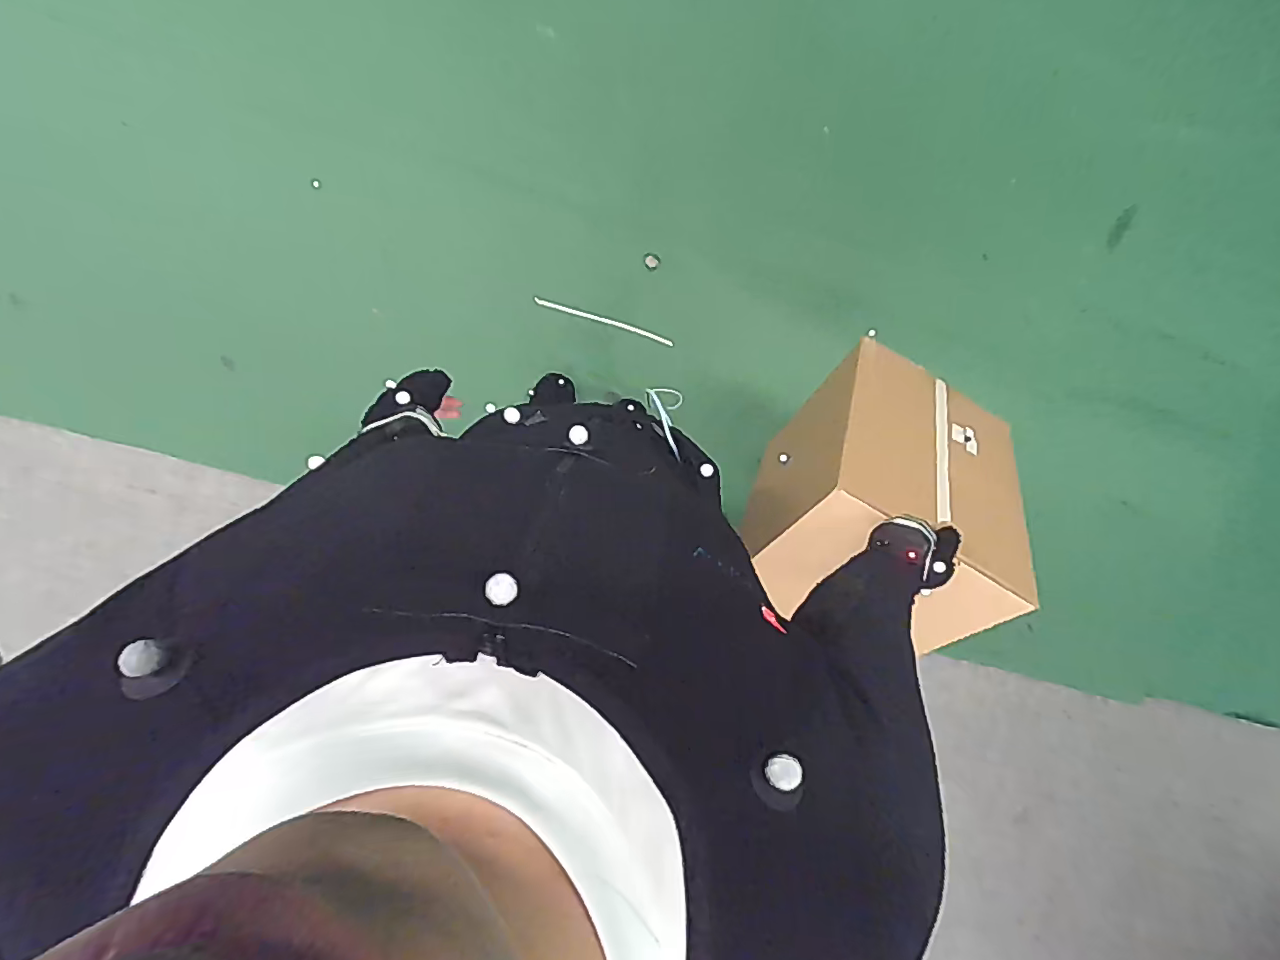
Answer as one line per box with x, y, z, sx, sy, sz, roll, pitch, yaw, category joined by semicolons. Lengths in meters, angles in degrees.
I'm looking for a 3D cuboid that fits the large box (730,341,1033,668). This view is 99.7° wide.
0.397;0.042;0.942;0.320;0.408;0.320;31;138;-3;large box
